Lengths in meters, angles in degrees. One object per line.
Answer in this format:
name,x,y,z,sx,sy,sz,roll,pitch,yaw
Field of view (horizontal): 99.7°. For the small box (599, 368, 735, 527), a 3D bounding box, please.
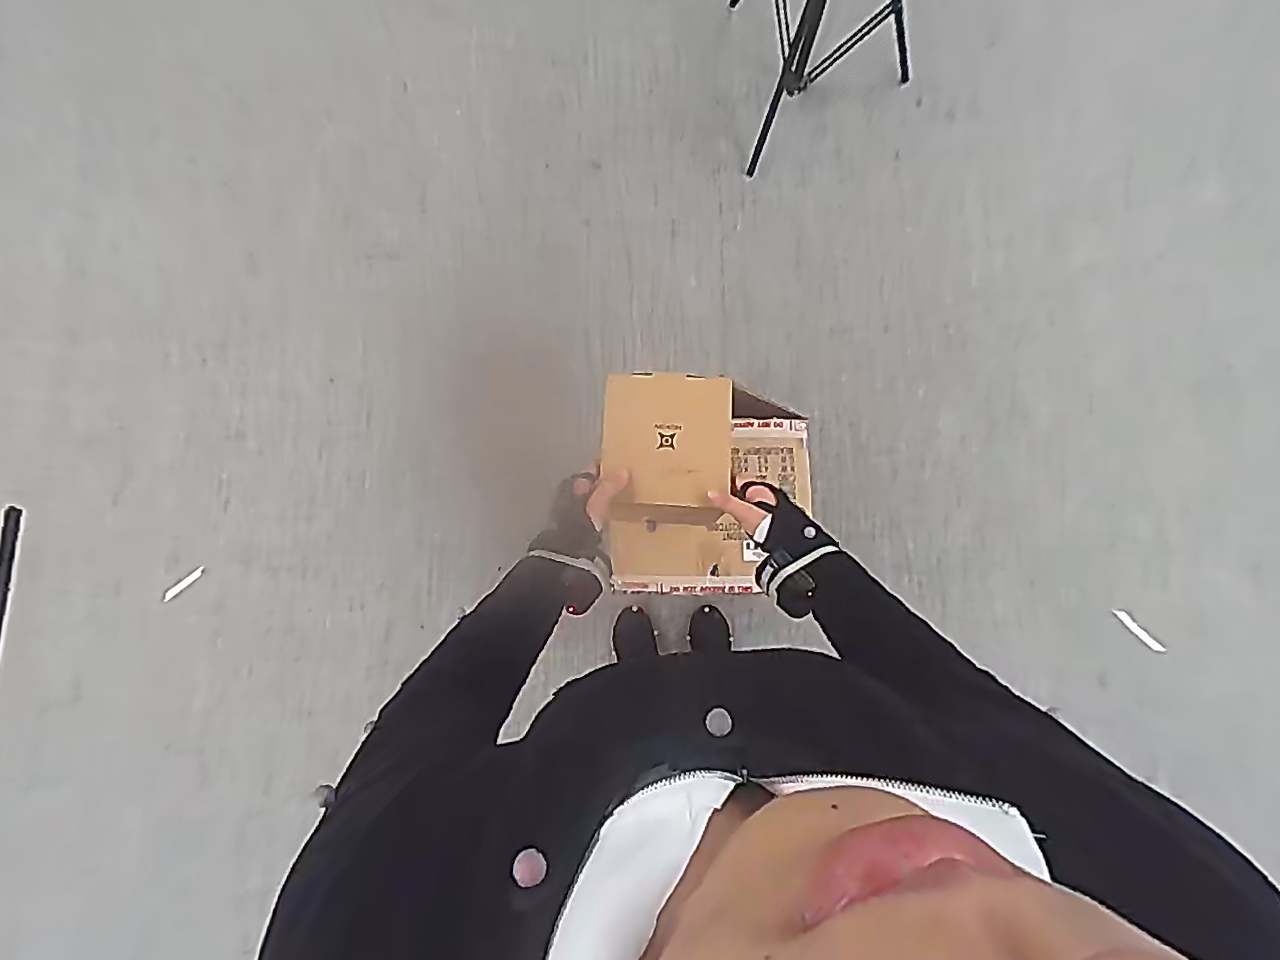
small box,0.035,-0.037,0.756,0.168,0.176,0.179,3,77,1
